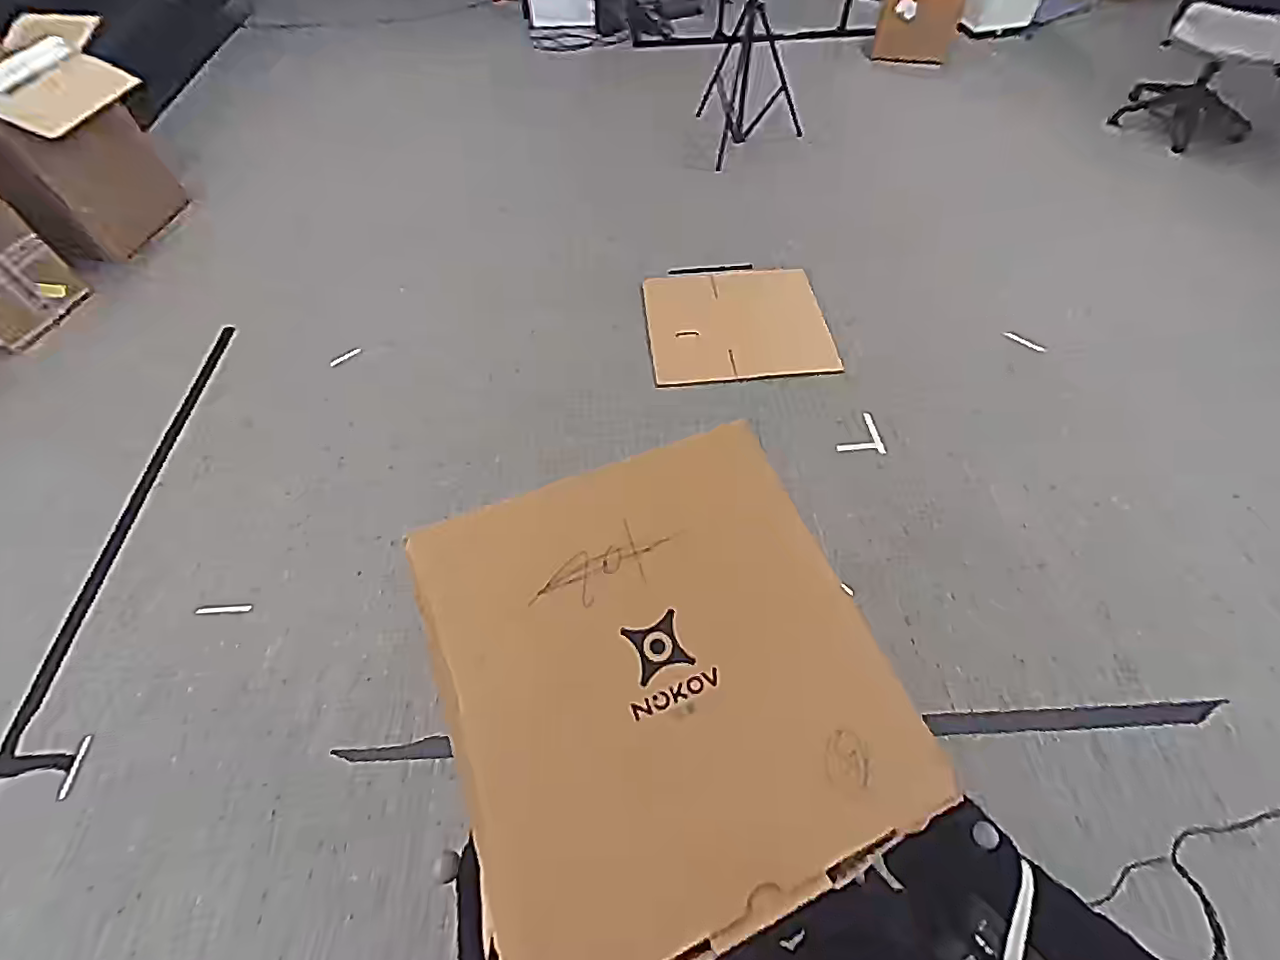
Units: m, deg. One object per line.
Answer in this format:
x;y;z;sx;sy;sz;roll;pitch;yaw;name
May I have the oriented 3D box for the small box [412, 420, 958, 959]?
0.006;0.103;0.283;0.168;0.176;0.179;-19;65;-14;small box
